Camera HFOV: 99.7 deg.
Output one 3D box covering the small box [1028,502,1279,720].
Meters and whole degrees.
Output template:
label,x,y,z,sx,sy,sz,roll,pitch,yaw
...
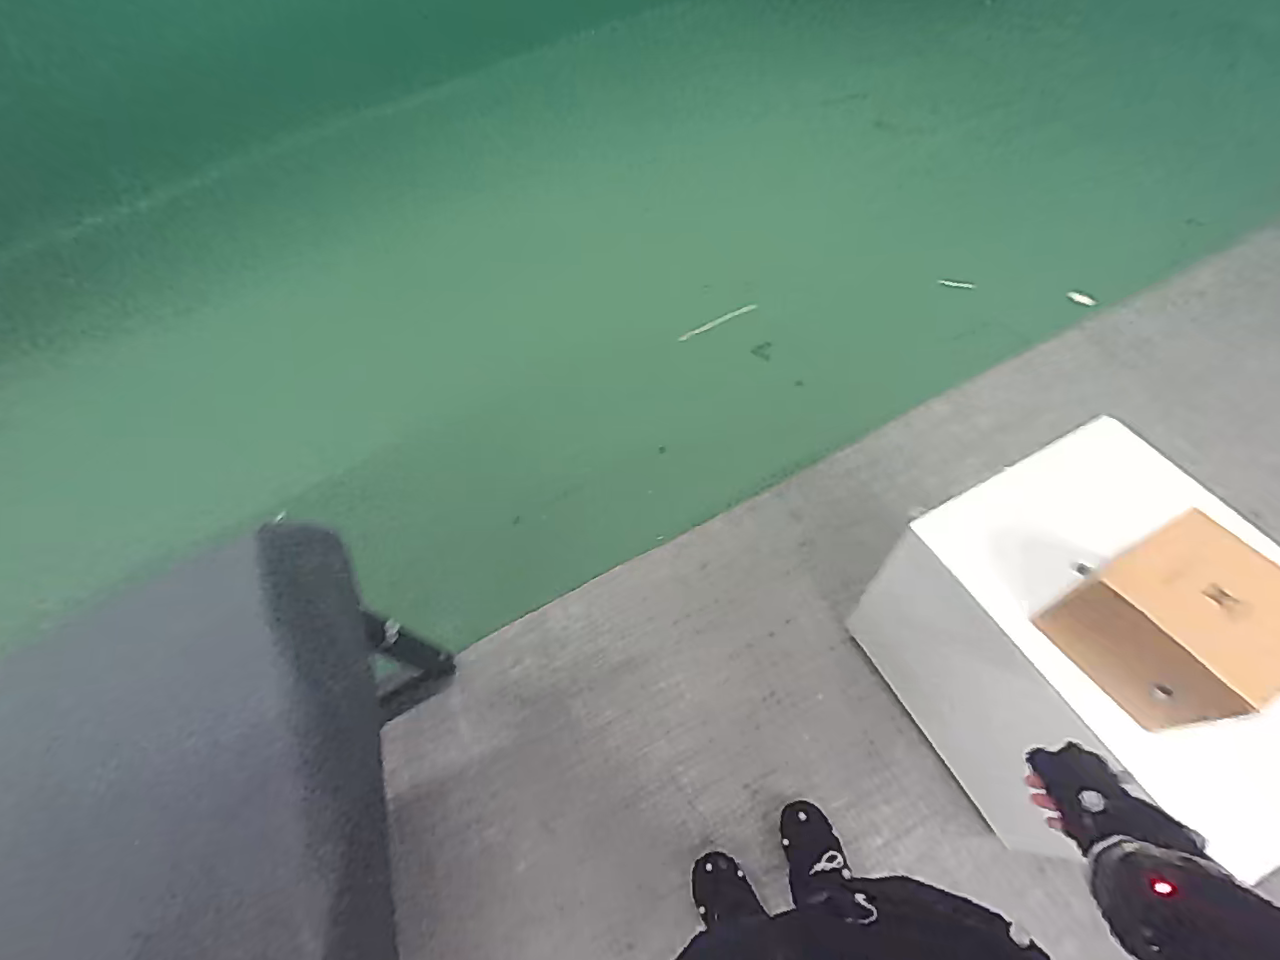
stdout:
label,x,y,z,sx,sy,sz,roll,pitch,yaw
small box,0.628,0.164,0.646,0.168,0.176,0.179,-32,59,-11
